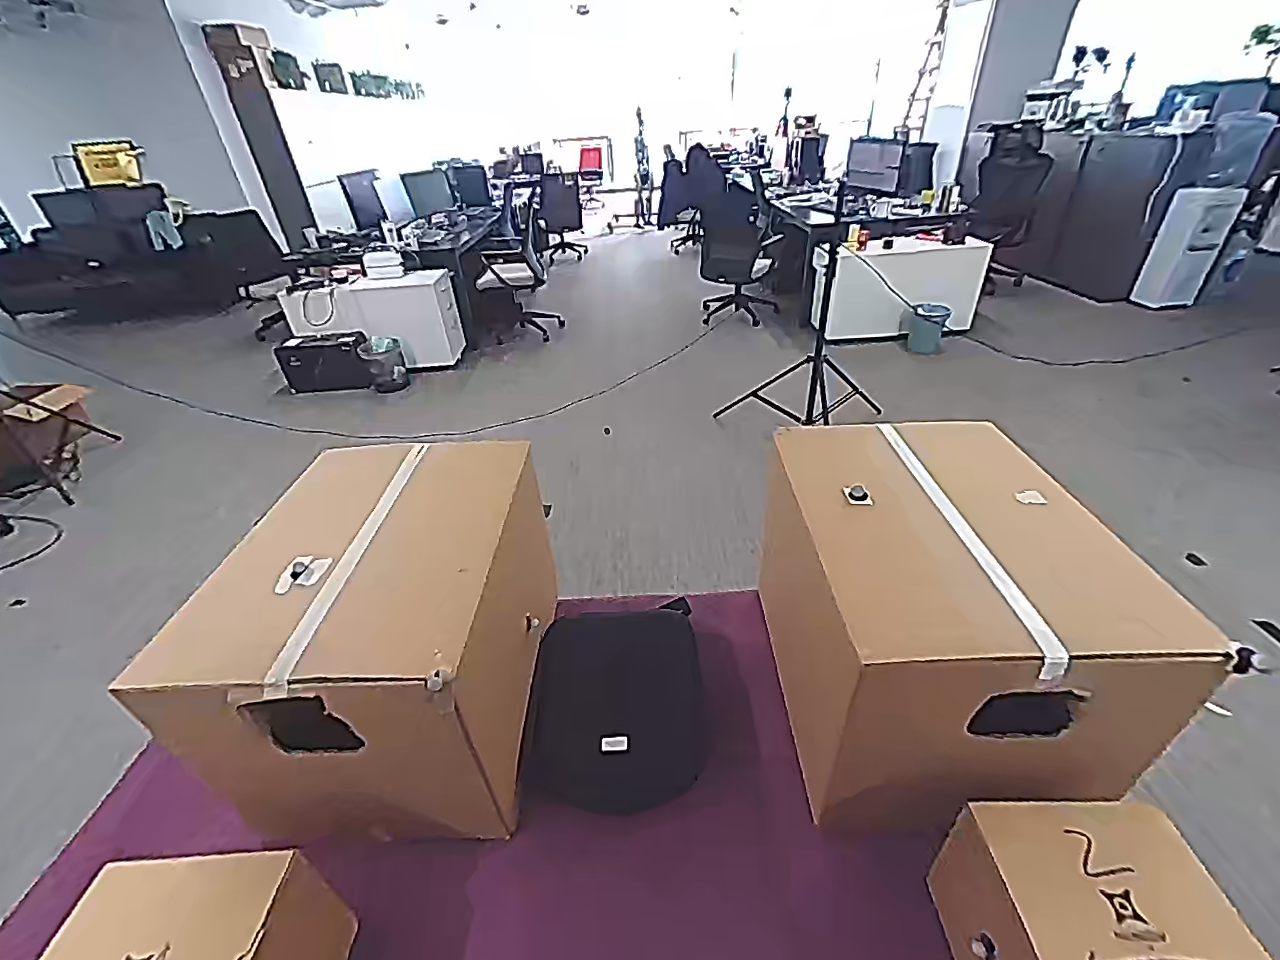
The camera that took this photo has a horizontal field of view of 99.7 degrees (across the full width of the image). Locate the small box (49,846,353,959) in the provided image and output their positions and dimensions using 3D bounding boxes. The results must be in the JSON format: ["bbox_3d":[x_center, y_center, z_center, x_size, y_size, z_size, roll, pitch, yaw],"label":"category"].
[{"bbox_3d":[-0.394,0.459,0.478,0.179,0.176,0.168,-4,33,-1],"label":"small box"}]

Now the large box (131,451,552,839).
[{"bbox_3d":[-0.308,0.199,0.731,0.320,0.320,0.408,-3,36,2],"label":"large box"}]
